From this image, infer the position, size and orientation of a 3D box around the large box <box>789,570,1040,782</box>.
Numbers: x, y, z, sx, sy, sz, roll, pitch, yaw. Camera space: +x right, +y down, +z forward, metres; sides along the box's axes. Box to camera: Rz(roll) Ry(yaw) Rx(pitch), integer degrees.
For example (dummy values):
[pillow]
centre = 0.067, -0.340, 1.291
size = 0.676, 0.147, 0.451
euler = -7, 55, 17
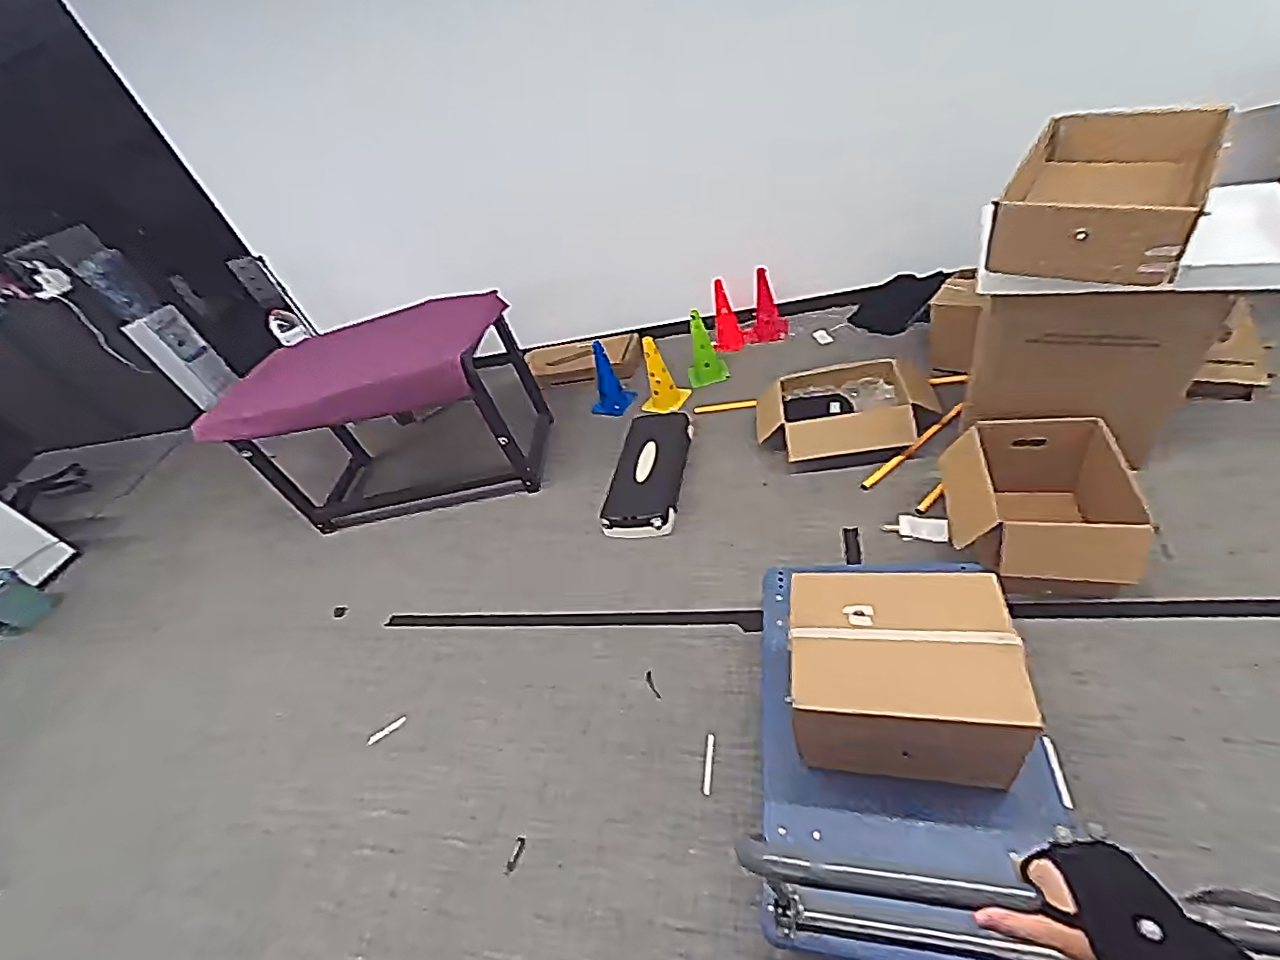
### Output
[large box]
centre = 0.541, 0.411, 1.145
size = 0.408, 0.320, 0.320
euler = -5, 42, 20
